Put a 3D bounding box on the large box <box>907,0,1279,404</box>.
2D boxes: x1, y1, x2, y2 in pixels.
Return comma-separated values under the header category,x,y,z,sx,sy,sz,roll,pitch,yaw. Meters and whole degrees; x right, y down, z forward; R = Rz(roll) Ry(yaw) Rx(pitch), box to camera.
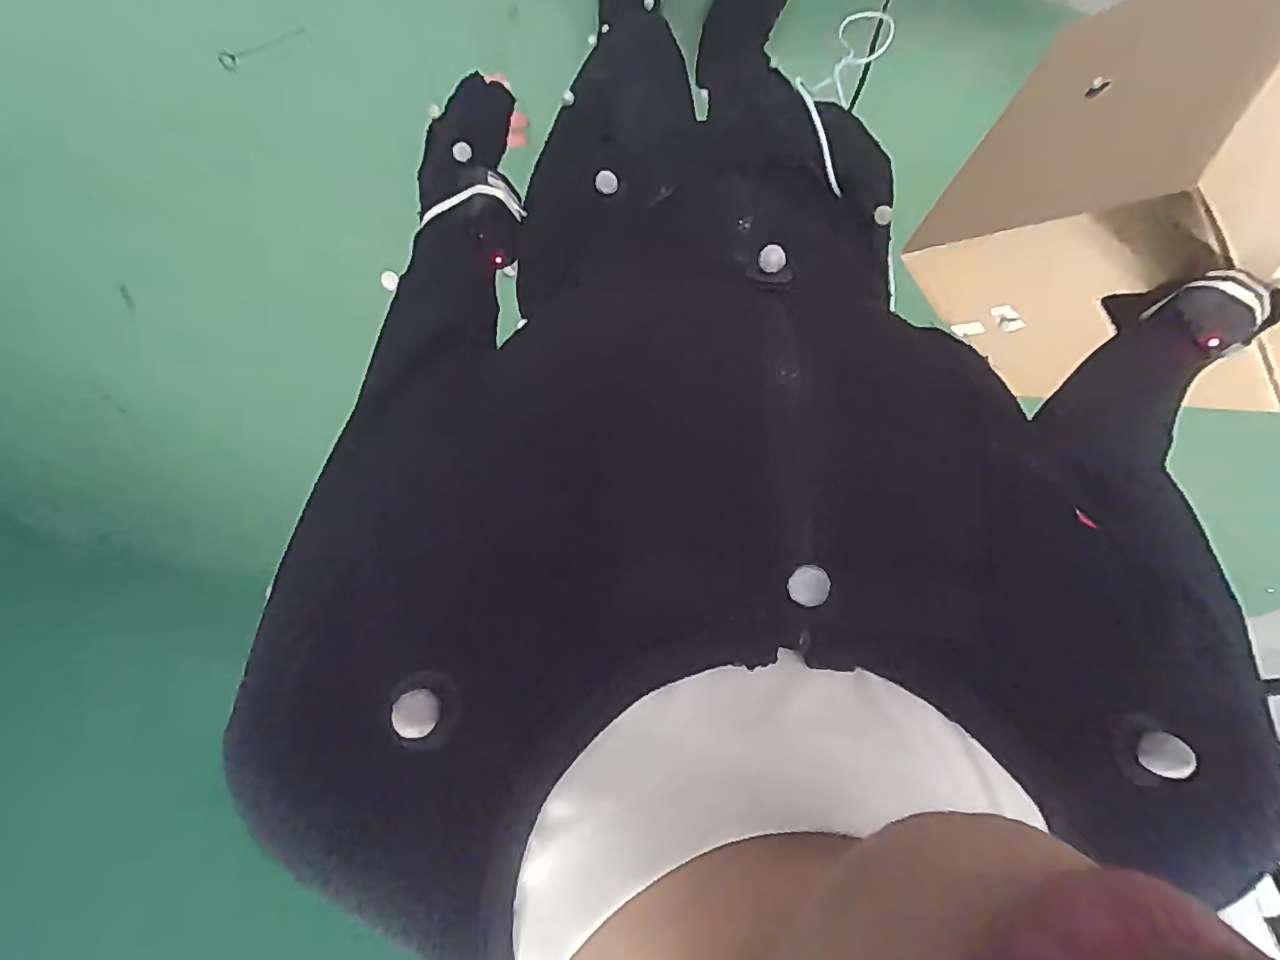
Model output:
category,x,y,z,sx,sy,sz,roll,pitch,yaw
large box,0.627,-0.348,0.666,0.320,0.408,0.320,37,176,-25
